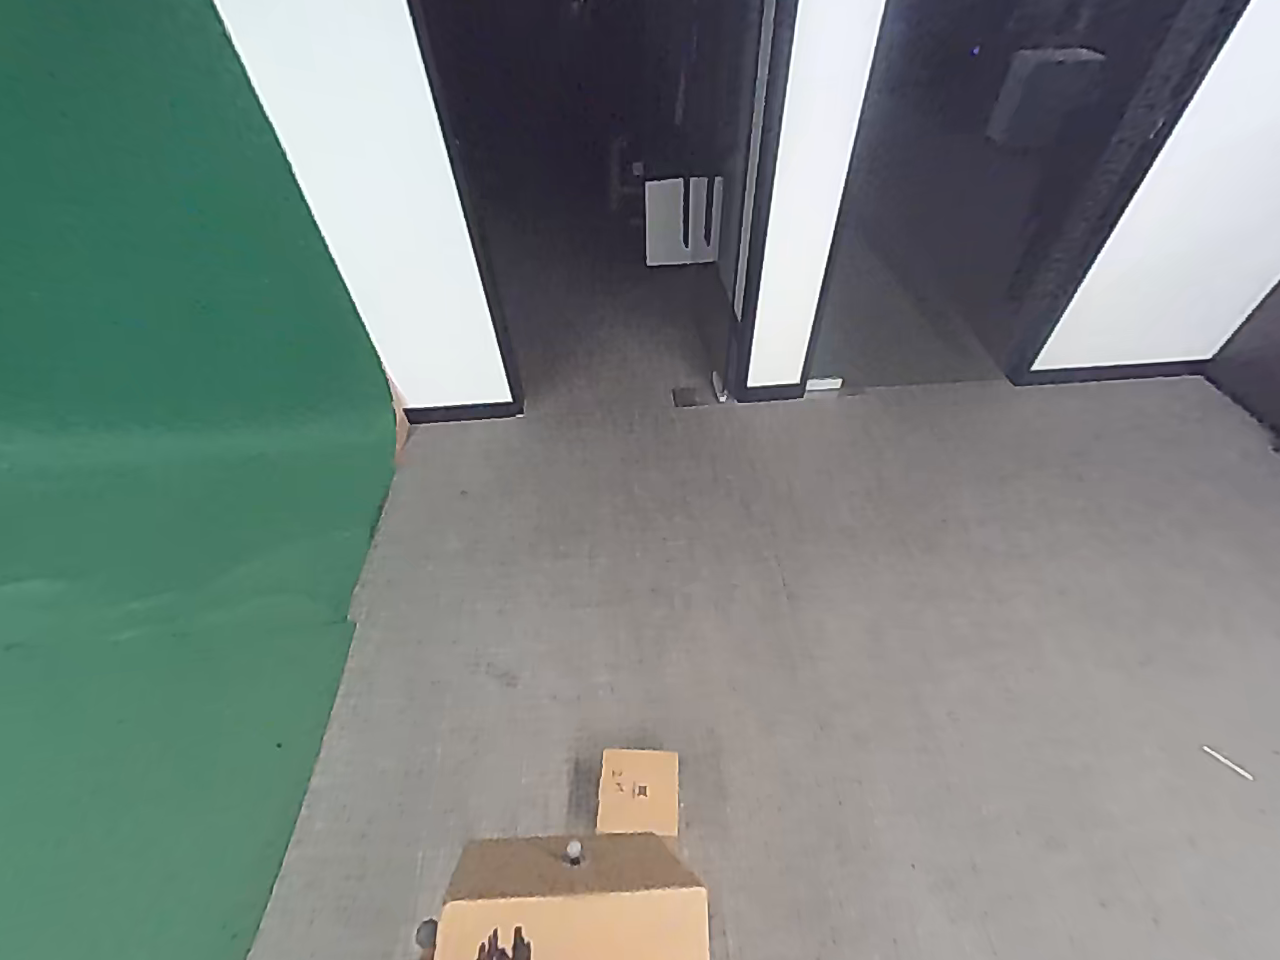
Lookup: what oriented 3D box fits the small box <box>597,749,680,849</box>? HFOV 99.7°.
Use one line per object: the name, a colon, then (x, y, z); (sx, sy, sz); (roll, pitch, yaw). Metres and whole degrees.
small box: (0.002, 0.735, 1.243); (0.179, 0.176, 0.168); (1, 47, 4)
